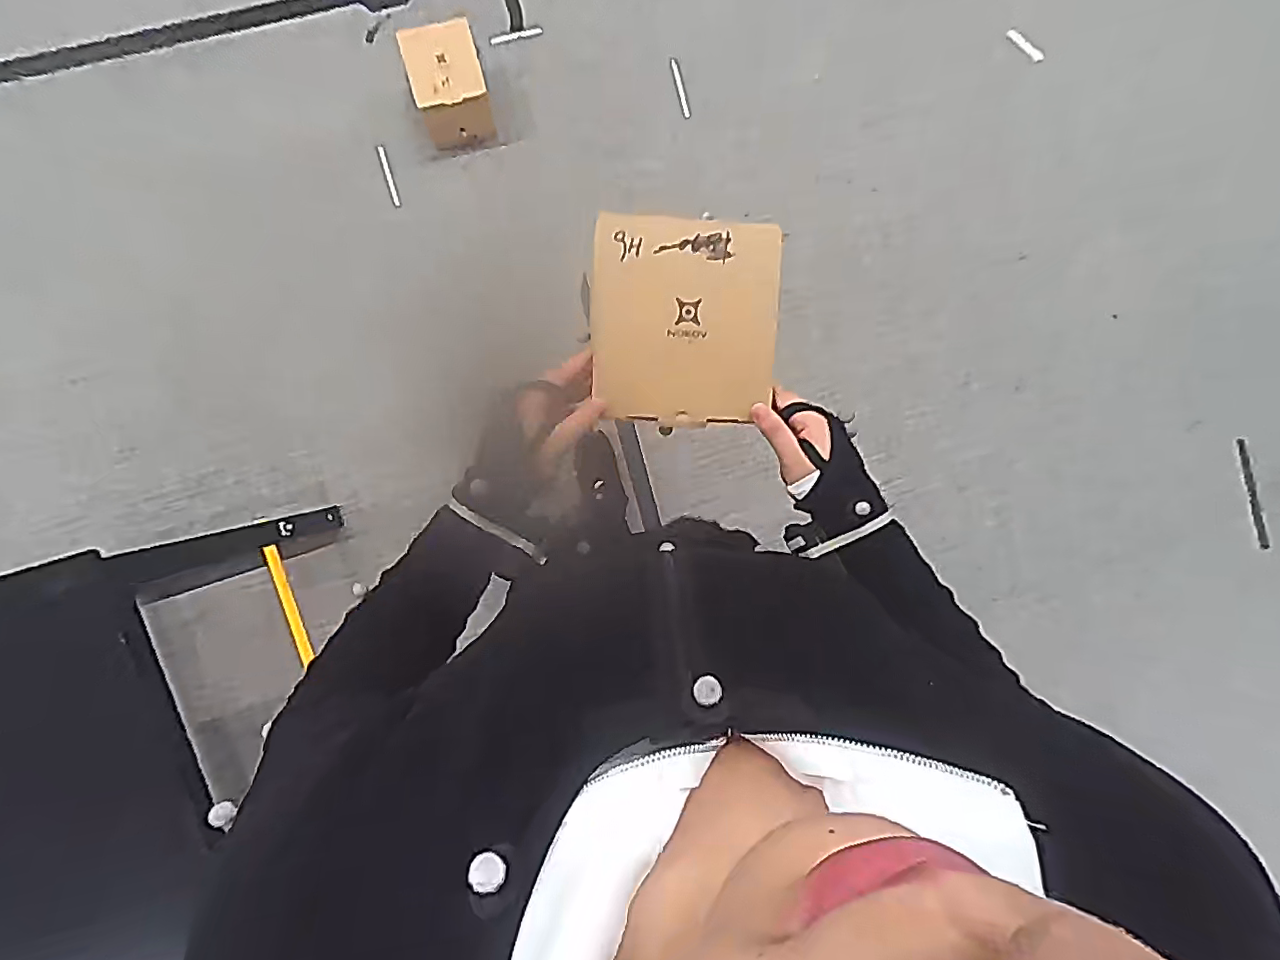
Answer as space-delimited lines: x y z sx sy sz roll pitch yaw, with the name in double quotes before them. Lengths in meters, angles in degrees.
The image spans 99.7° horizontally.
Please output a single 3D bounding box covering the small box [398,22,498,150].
"small box" -0.457 -0.948 1.312 0.168 0.176 0.179 -16 94 -4
